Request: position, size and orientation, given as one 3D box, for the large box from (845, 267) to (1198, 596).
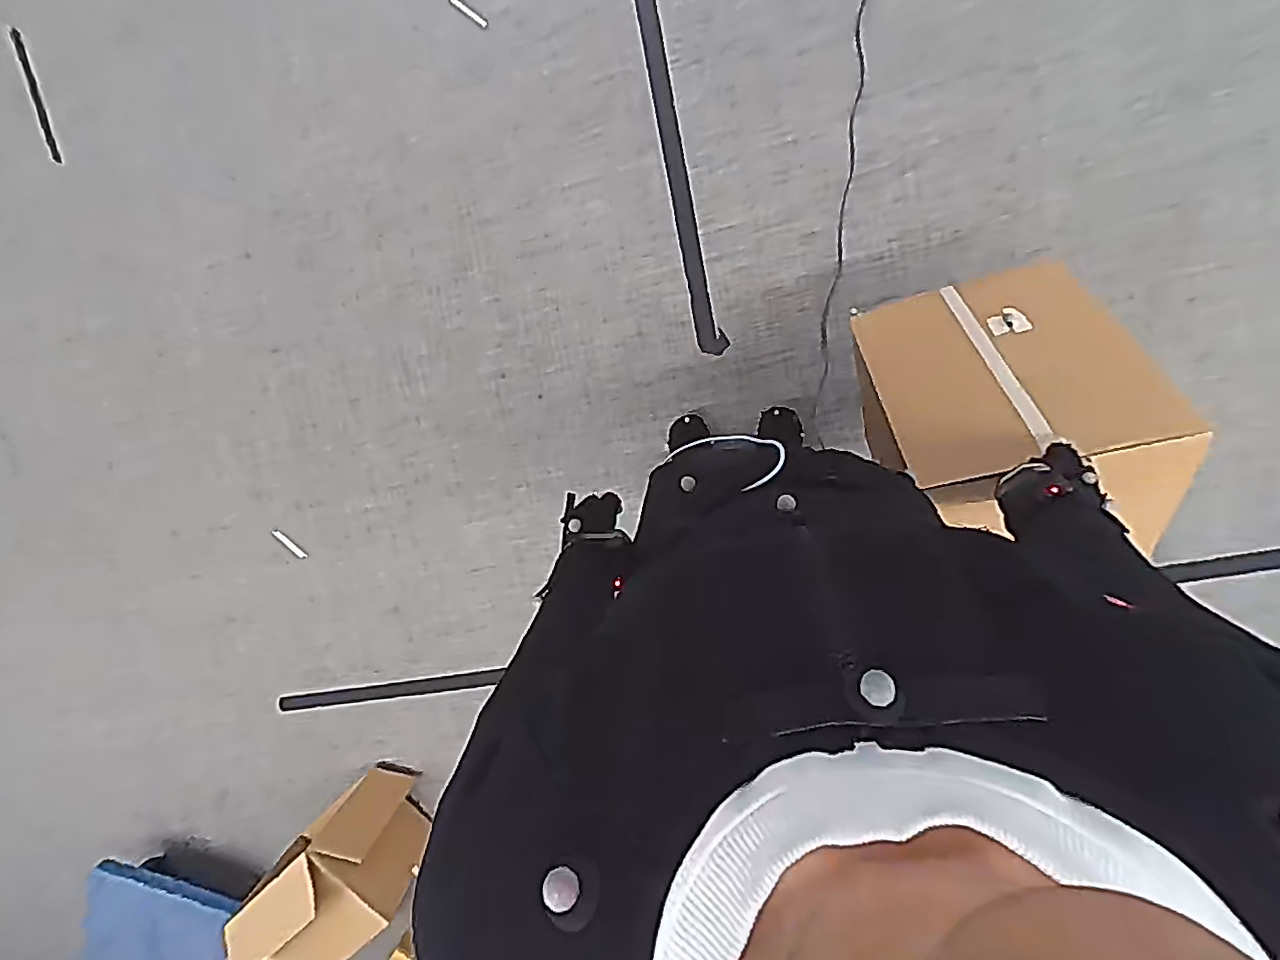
[{"bbox_3d":[0.564,-0.076,0.899,0.320,0.408,0.320,-14,135,16],"label":"large box"}]
